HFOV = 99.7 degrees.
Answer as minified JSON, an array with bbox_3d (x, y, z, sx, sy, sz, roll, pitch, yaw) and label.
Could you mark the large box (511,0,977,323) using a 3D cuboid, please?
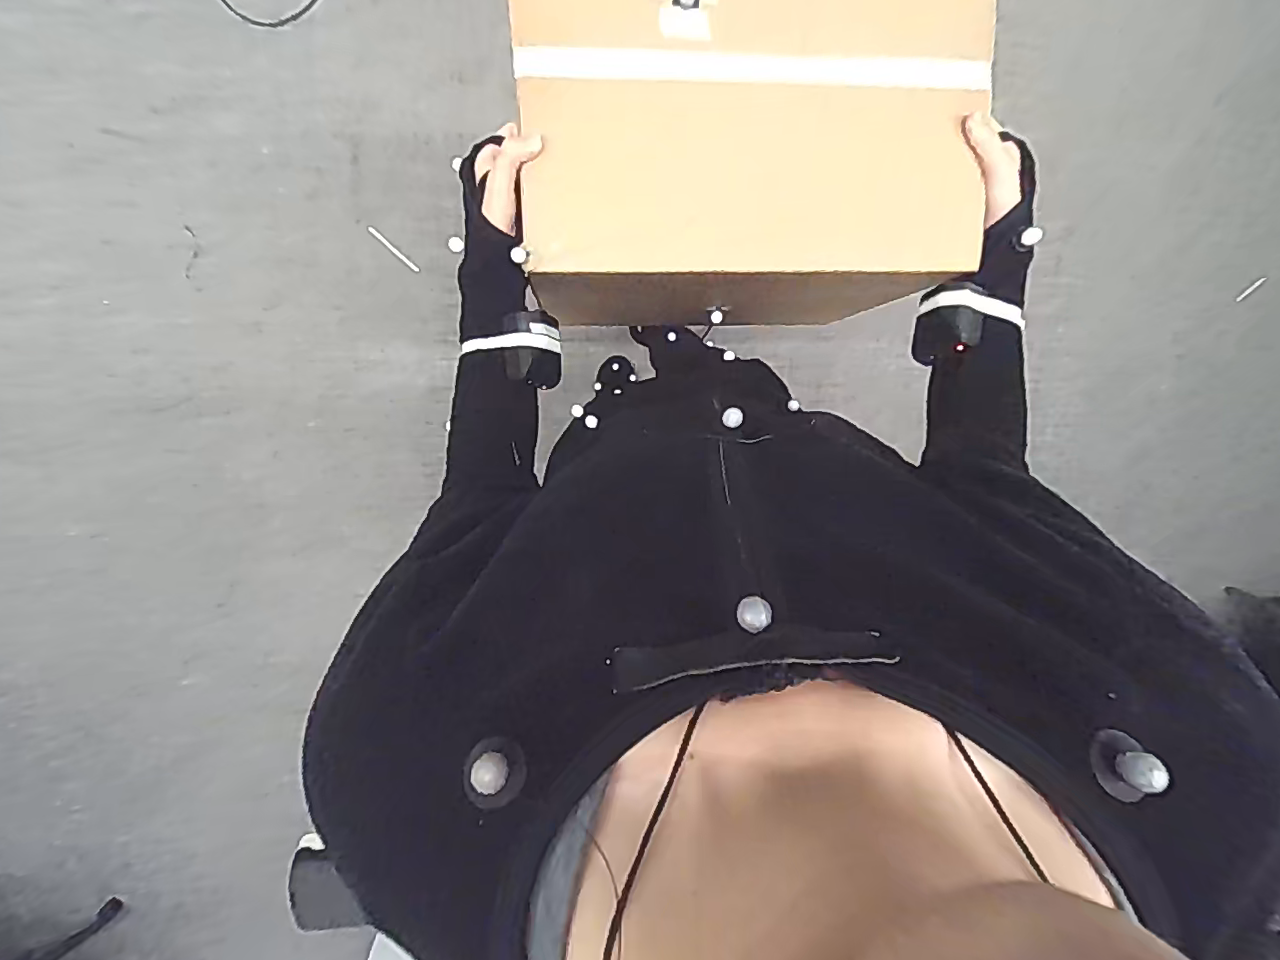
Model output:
[{"bbox_3d":[0.084,-0.357,0.608,0.408,0.320,0.320,-2,97,-4],"label":"large box"}]
